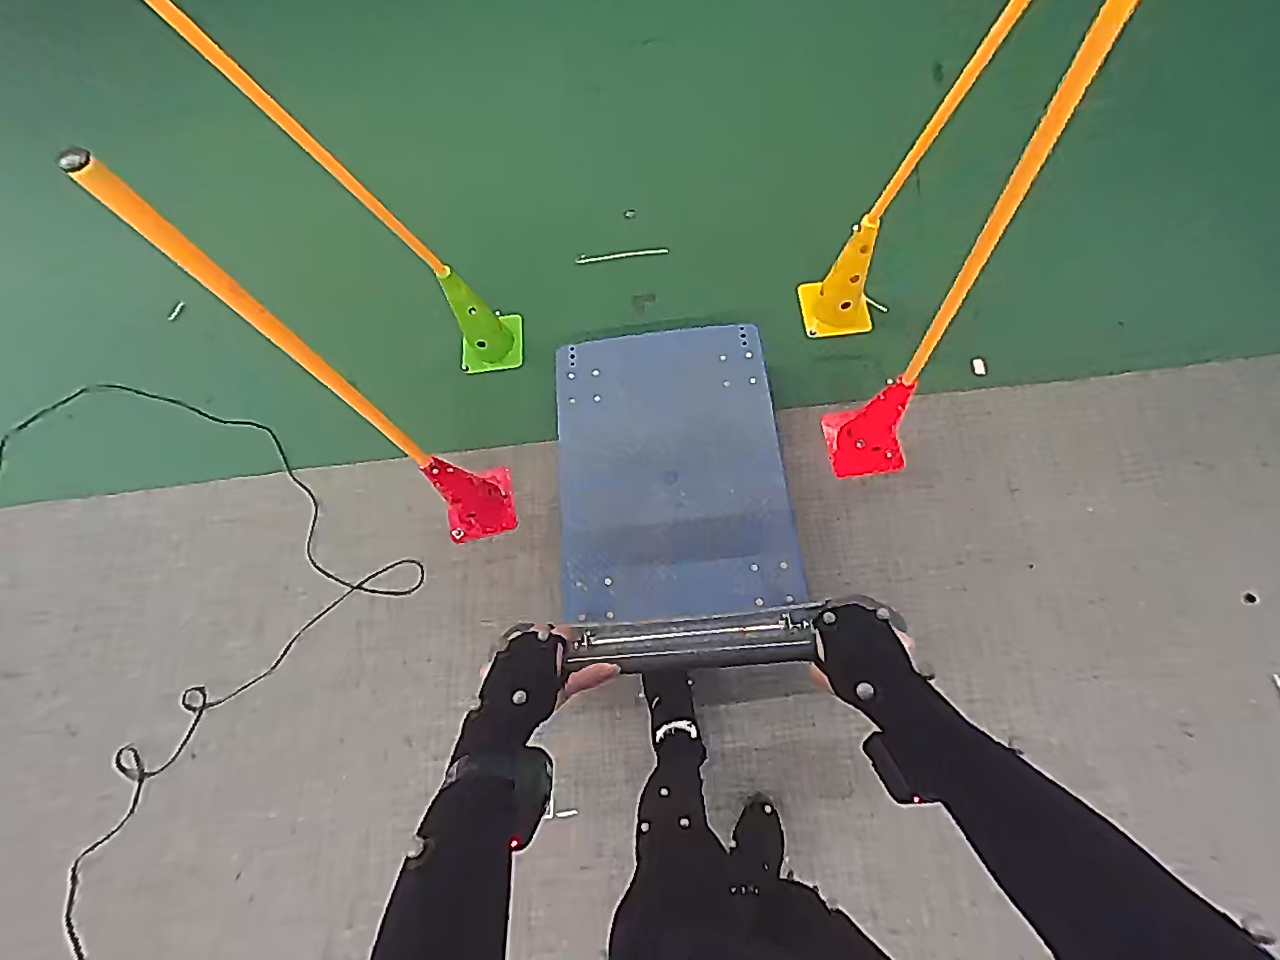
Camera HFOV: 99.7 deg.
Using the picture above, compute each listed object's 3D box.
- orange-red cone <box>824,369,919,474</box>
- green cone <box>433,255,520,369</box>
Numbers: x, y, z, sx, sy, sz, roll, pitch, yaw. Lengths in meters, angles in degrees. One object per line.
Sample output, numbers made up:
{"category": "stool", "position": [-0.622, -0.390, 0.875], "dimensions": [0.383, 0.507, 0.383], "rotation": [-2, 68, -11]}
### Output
{"category": "orange-red cone", "position": [0.616, -0.173, 1.367], "dimensions": [0.198, 0.360, 0.199], "rotation": [-6, 69, 3]}
{"category": "green cone", "position": [-0.503, -0.512, 1.589], "dimensions": [0.200, 0.368, 0.202], "rotation": [-7, 70, 4]}
